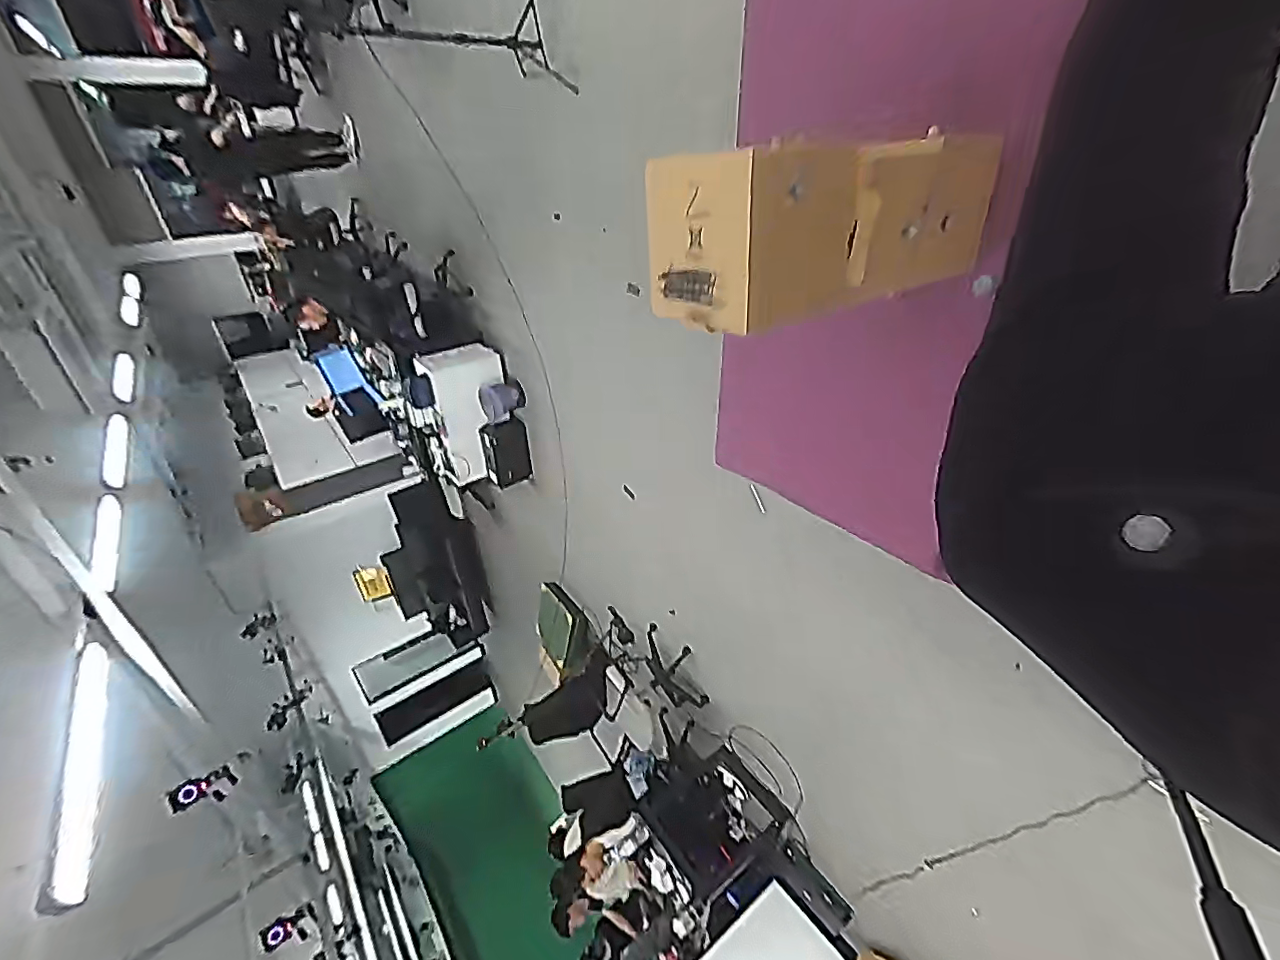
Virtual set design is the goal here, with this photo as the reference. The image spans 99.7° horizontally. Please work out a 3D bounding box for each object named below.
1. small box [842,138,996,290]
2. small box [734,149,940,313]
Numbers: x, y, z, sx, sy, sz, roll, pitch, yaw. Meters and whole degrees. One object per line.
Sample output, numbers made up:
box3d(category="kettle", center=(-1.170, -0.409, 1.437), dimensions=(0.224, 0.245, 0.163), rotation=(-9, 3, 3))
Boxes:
box3d(category="small box", center=(0.385, -0.393, 0.795), dimensions=(0.168, 0.176, 0.179), rotation=(31, 134, 45))
box3d(category="small box", center=(0.252, -0.337, 0.716), dimensions=(0.179, 0.176, 0.168), rotation=(37, 139, 41))
